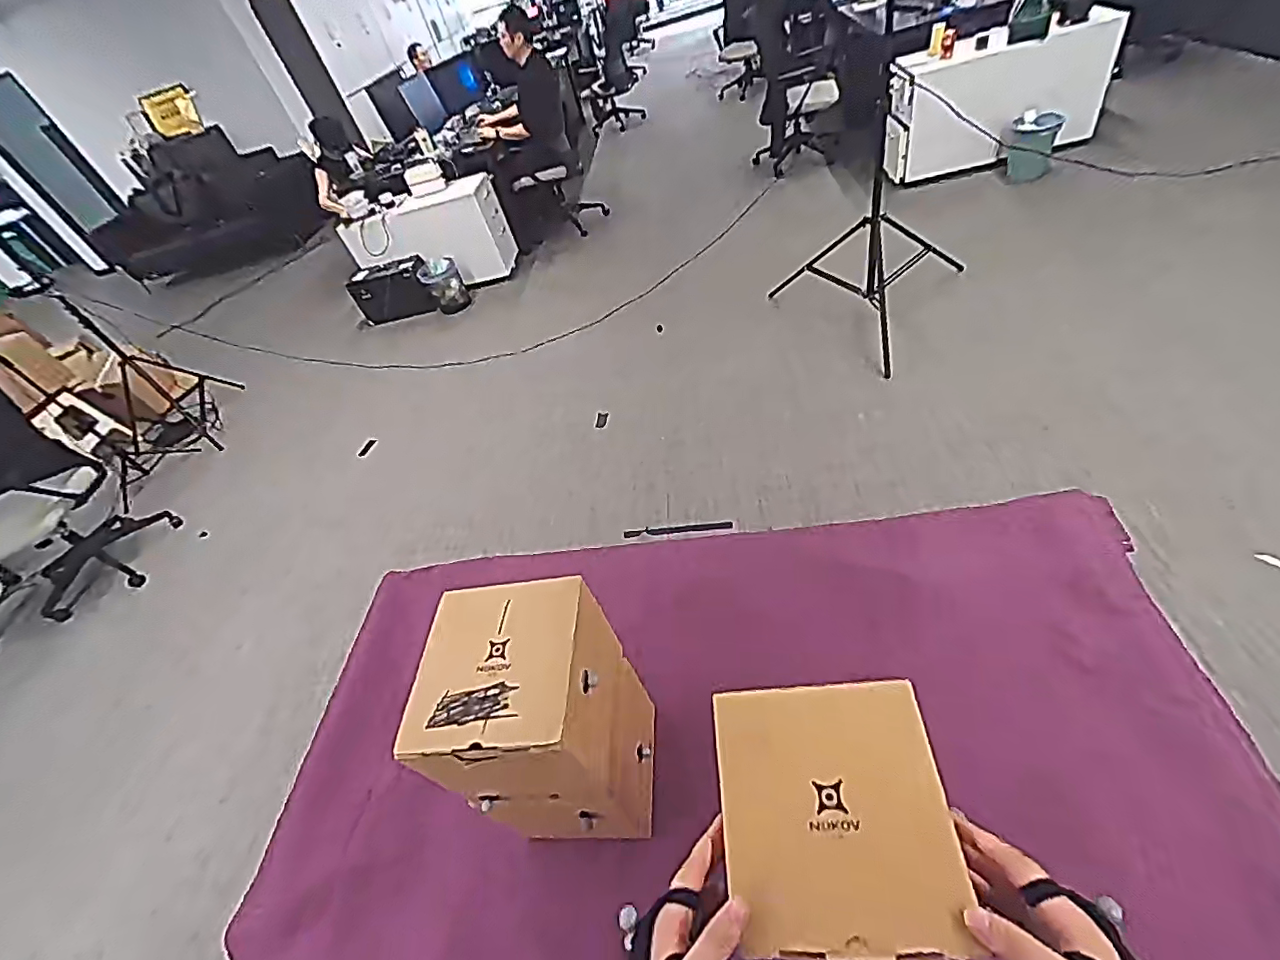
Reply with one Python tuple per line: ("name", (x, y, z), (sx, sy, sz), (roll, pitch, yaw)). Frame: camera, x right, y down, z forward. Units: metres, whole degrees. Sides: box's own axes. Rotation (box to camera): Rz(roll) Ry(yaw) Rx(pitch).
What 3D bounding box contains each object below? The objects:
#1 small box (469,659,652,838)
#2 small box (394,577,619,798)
("small box", (-0.085, 0.347, 0.696), (0.179, 0.176, 0.168), (-8, 45, 12))
("small box", (-0.124, 0.231, 0.586), (0.168, 0.176, 0.179), (-9, 45, 11))
